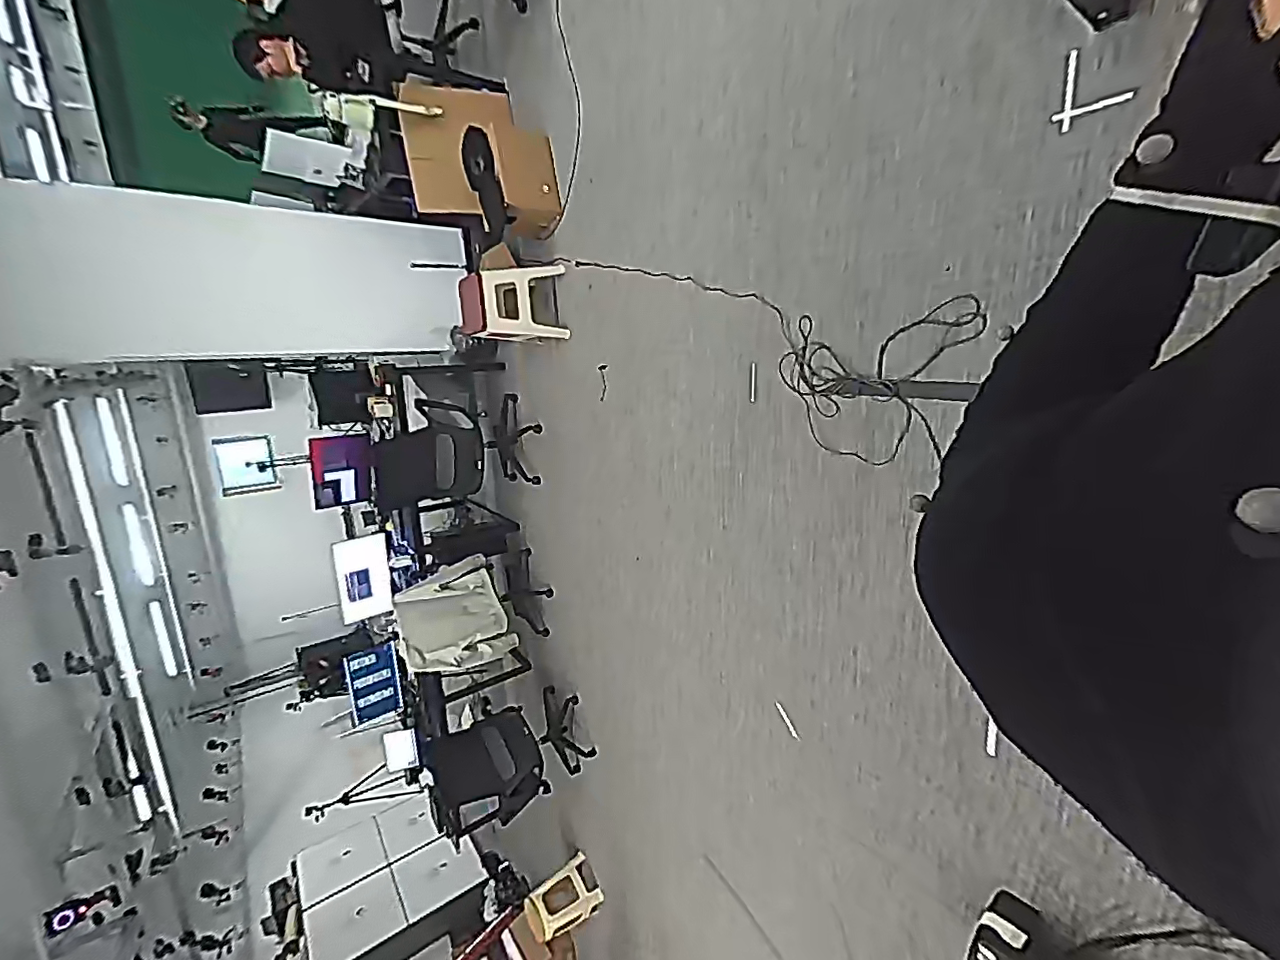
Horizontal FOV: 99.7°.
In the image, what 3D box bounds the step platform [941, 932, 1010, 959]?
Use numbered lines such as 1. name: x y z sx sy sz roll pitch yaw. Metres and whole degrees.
1. step platform: 0.988 1.368 1.154 0.684 0.204 0.286 13 111 53
